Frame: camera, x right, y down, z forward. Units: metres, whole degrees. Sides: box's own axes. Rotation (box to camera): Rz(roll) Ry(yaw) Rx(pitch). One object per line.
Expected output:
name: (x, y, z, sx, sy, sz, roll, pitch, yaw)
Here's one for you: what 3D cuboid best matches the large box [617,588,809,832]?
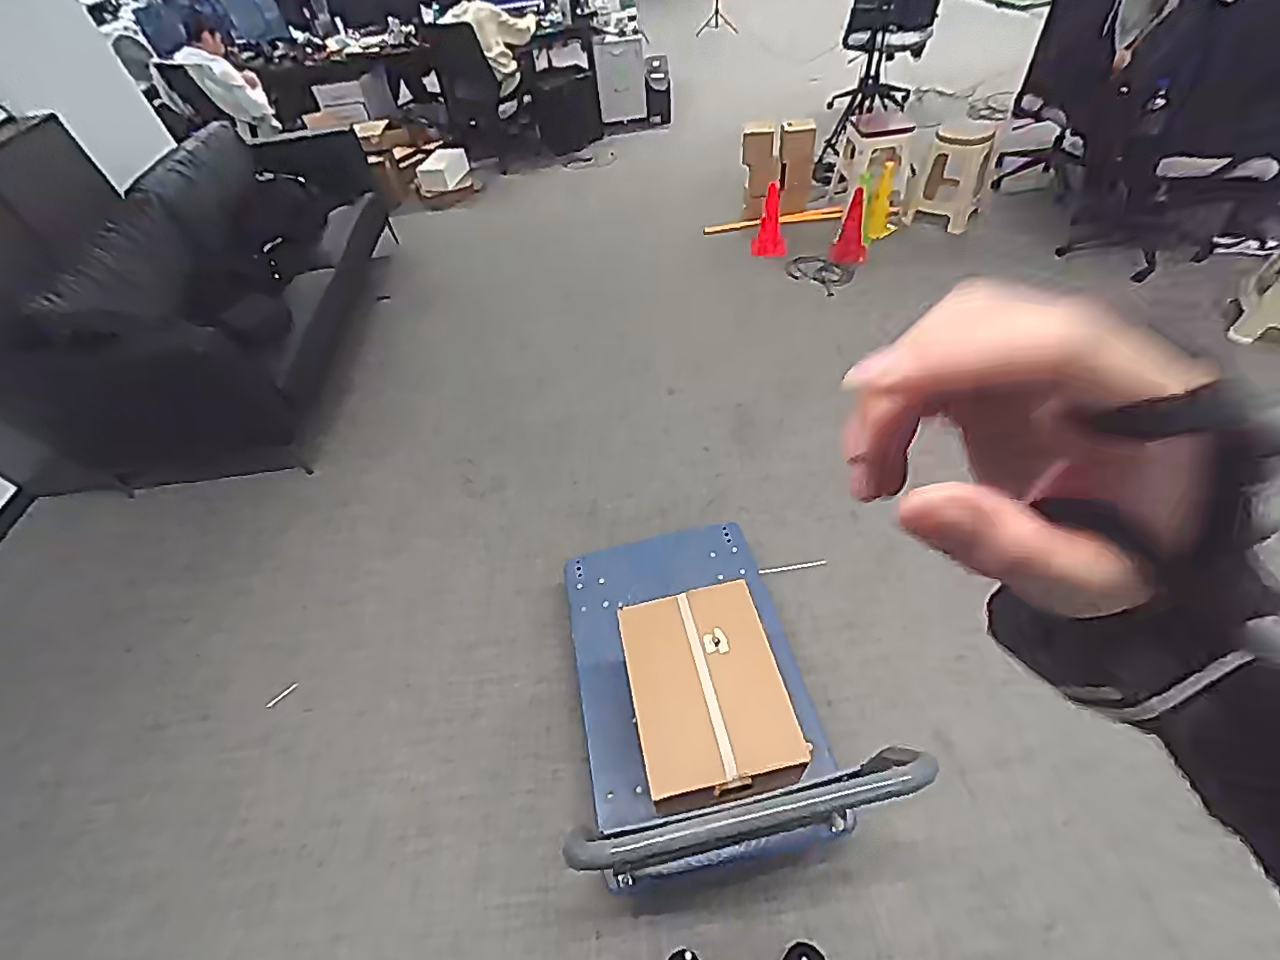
large box: (0.153, 0.529, 1.256, 0.320, 0.320, 0.408, -13, 49, -3)
